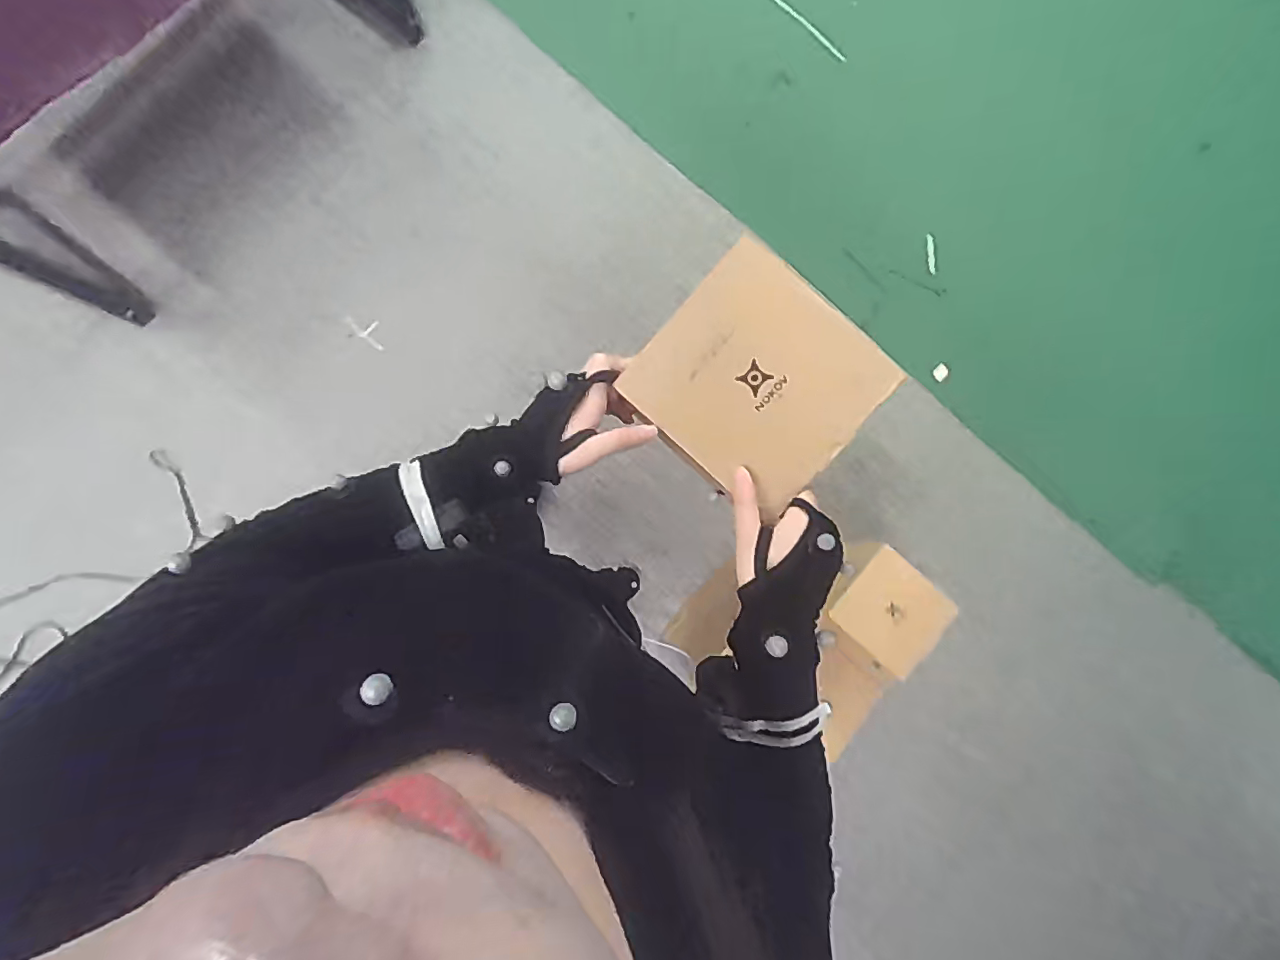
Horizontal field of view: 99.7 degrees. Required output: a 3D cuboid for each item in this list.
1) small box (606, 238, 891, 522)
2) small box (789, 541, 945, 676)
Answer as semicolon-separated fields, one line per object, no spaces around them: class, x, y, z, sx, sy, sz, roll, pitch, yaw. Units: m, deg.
small box;0.091;-0.084;0.520;0.179;0.176;0.168;43;92;1
small box;0.415;0.233;1.023;0.179;0.176;0.168;43;84;-1
